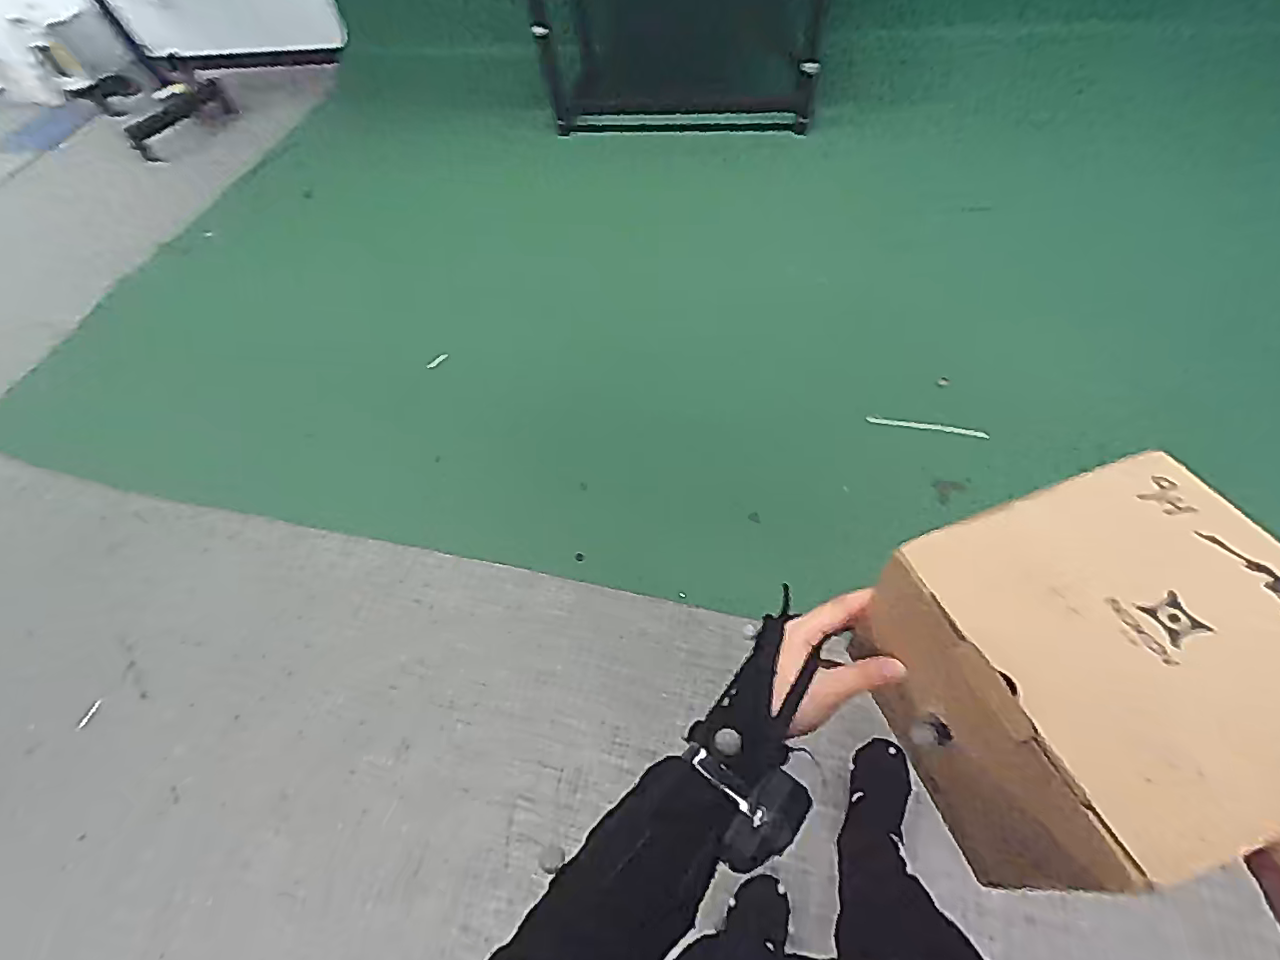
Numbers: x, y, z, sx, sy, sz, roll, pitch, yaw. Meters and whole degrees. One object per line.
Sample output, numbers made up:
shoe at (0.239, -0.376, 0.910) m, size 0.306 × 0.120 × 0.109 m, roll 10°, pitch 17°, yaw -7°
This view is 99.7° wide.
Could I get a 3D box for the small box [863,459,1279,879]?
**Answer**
small box at (0.259, 0.122, 0.332) m, size 0.179 × 0.176 × 0.168 m, roll -19°, pitch 53°, yaw -4°
